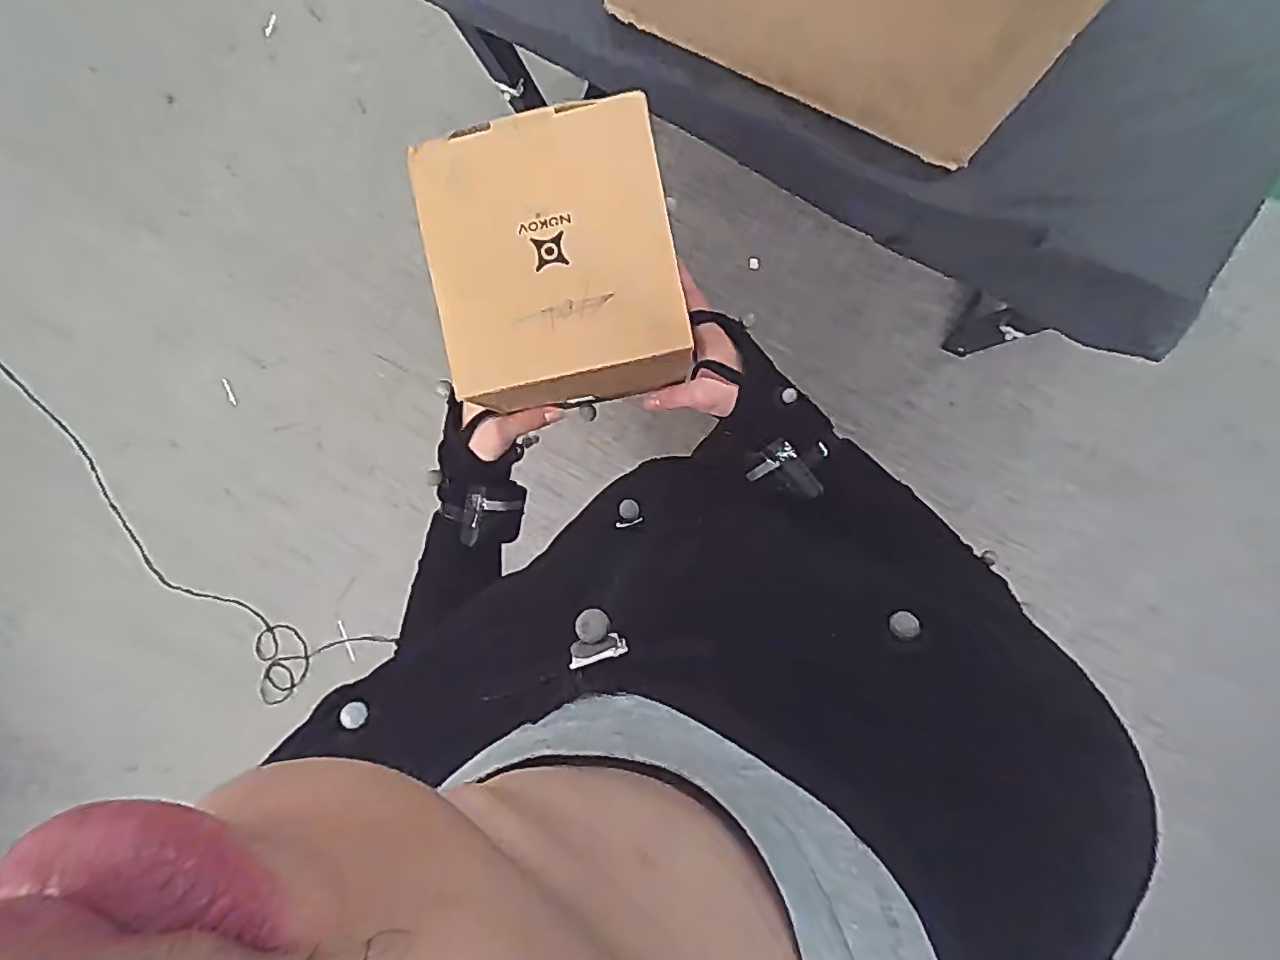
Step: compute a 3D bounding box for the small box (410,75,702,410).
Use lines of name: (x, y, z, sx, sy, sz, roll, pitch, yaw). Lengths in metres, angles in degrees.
small box: (-0.053, -0.164, 0.435, 0.168, 0.176, 0.179, -13, 91, 3)
